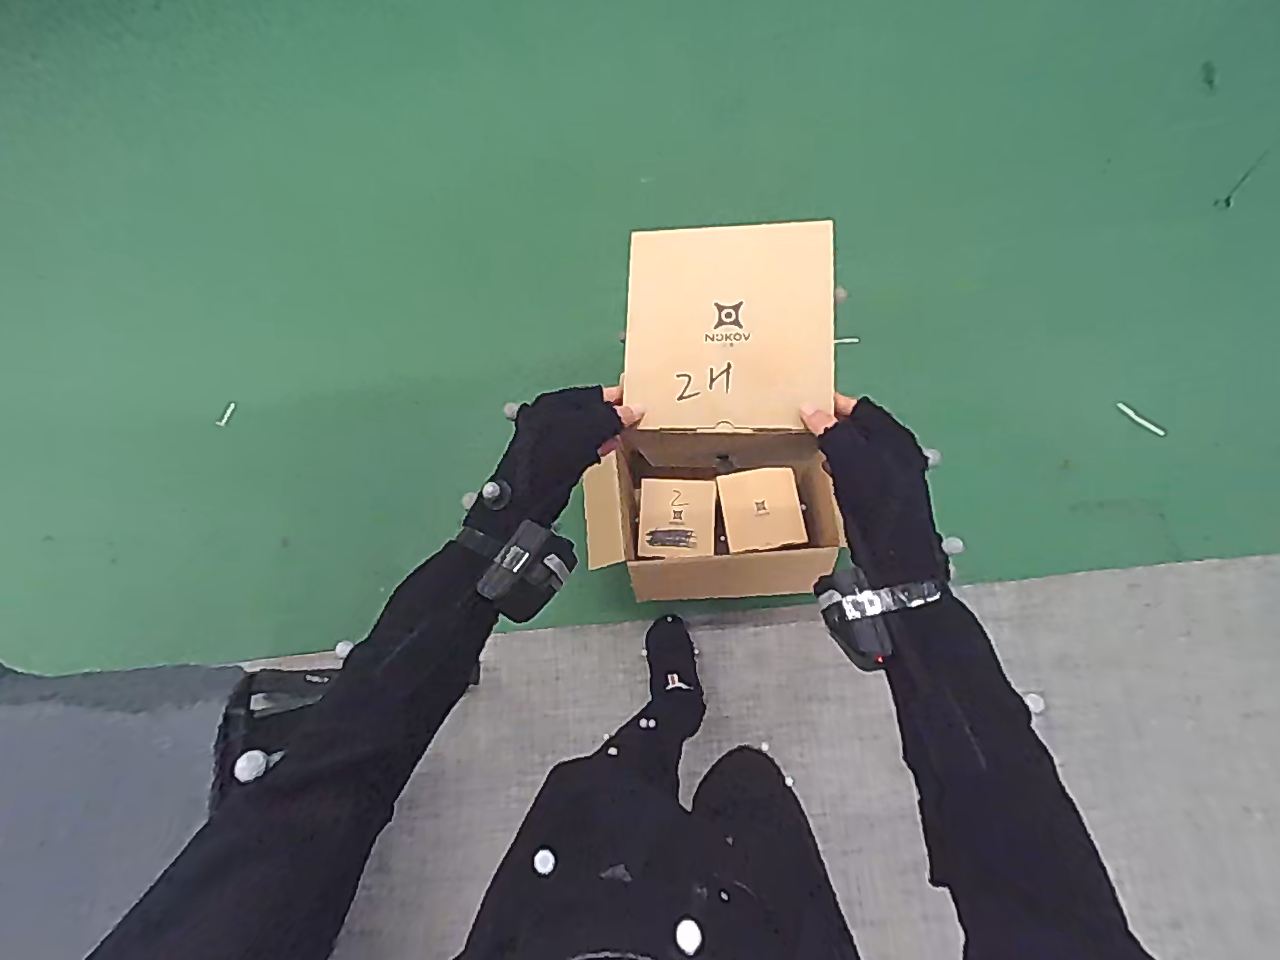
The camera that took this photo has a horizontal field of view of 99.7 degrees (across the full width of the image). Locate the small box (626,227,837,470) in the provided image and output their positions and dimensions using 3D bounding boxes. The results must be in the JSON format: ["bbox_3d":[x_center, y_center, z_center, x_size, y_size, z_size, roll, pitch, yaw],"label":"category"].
[{"bbox_3d":[0.086,-0.111,0.517,0.168,0.176,0.179,2,83,10],"label":"small box"}]
